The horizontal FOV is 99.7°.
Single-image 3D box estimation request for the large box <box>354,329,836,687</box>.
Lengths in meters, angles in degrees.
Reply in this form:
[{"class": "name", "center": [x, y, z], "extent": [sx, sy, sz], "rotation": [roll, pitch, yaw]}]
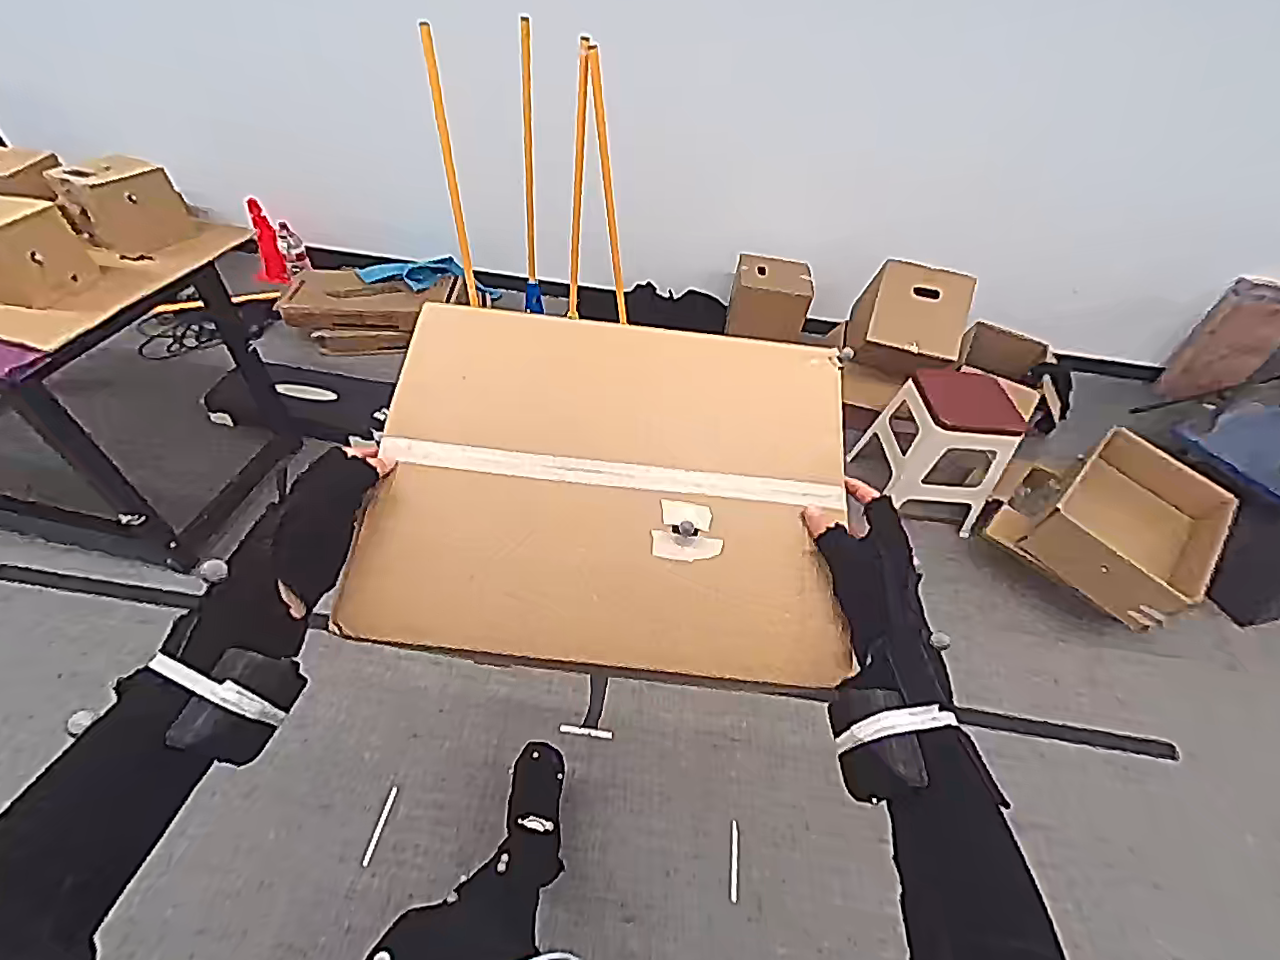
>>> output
[{"class": "large box", "center": [-0.033, 0.060, 0.631], "extent": [0.408, 0.320, 0.320], "rotation": [6, 69, -1]}]
